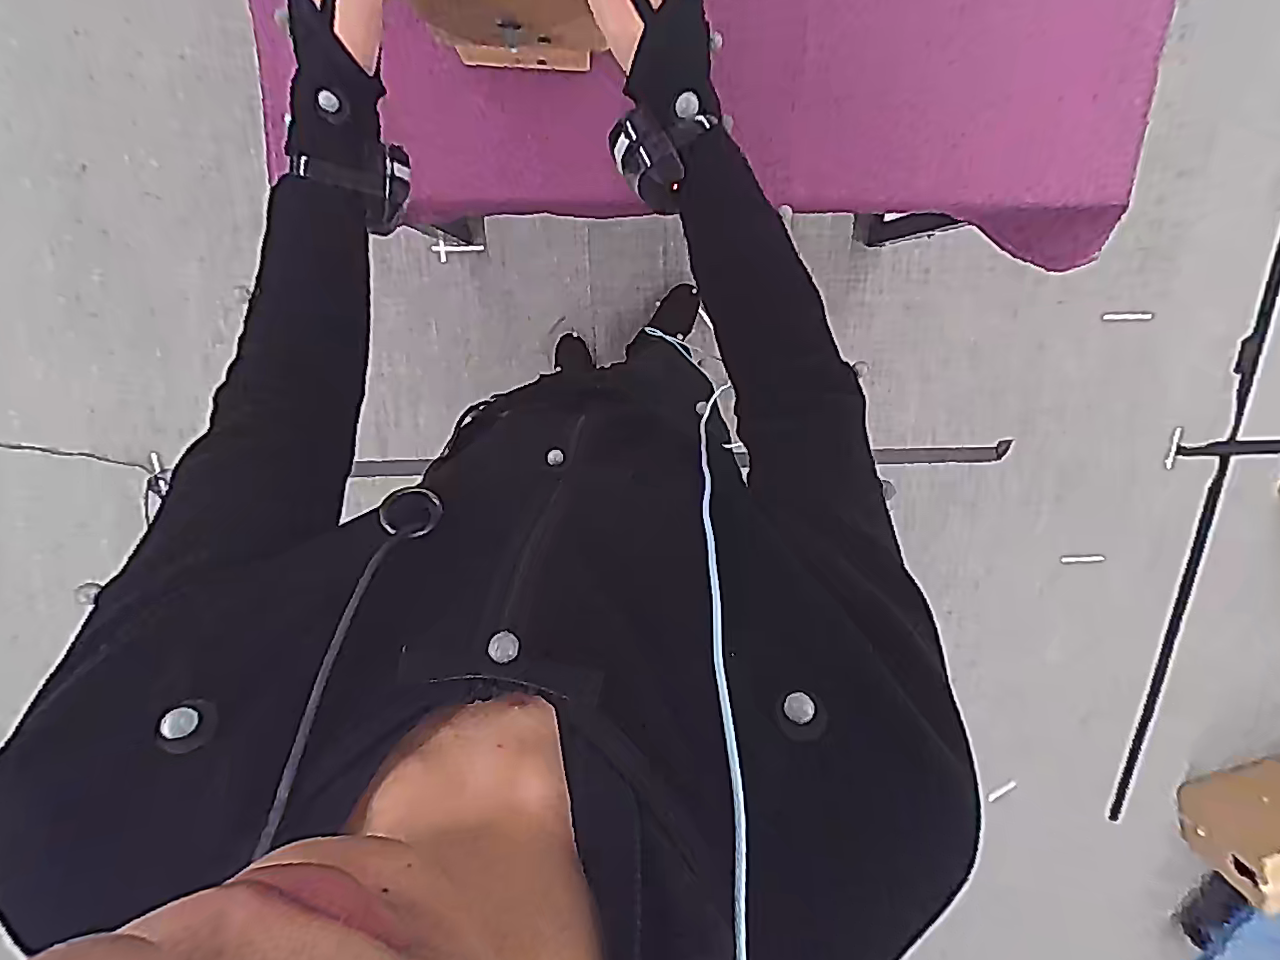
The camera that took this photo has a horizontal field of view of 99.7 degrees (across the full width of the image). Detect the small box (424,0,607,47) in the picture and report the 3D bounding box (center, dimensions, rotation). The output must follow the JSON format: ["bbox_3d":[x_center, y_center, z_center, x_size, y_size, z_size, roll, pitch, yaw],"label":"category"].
[{"bbox_3d":[-0.107,-0.480,0.420,0.168,0.176,0.179,0,111,-3],"label":"small box"}]

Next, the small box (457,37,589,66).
[{"bbox_3d":[-0.141,-0.603,0.610,0.168,0.176,0.179,0,107,-5],"label":"small box"}]
